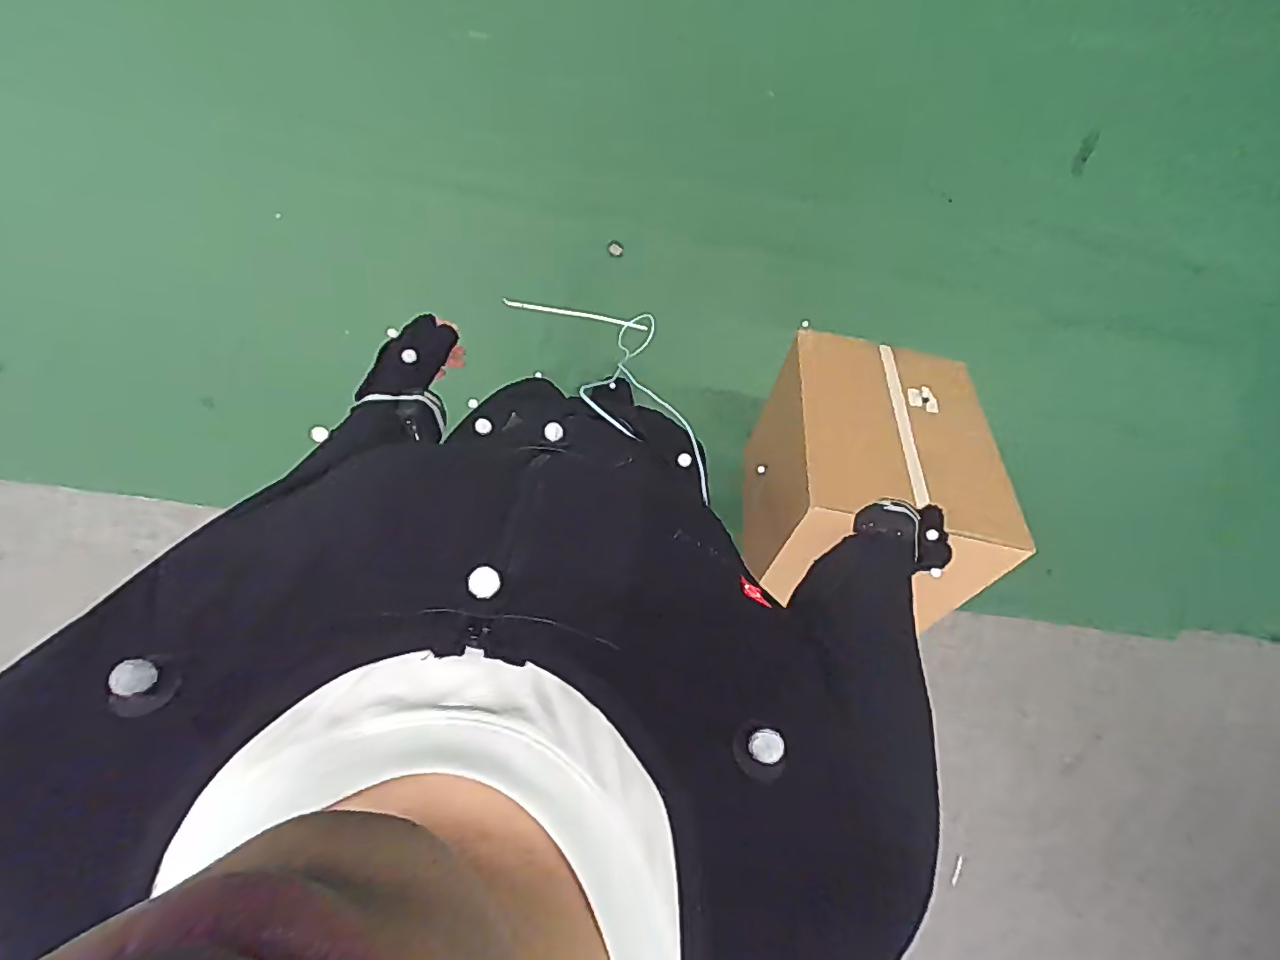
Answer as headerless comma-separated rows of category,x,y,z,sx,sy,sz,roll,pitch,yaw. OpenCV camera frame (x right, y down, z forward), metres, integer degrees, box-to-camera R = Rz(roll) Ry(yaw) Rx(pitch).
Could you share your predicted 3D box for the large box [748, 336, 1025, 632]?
large box,0.385,0.009,0.974,0.320,0.408,0.320,12,140,-2
